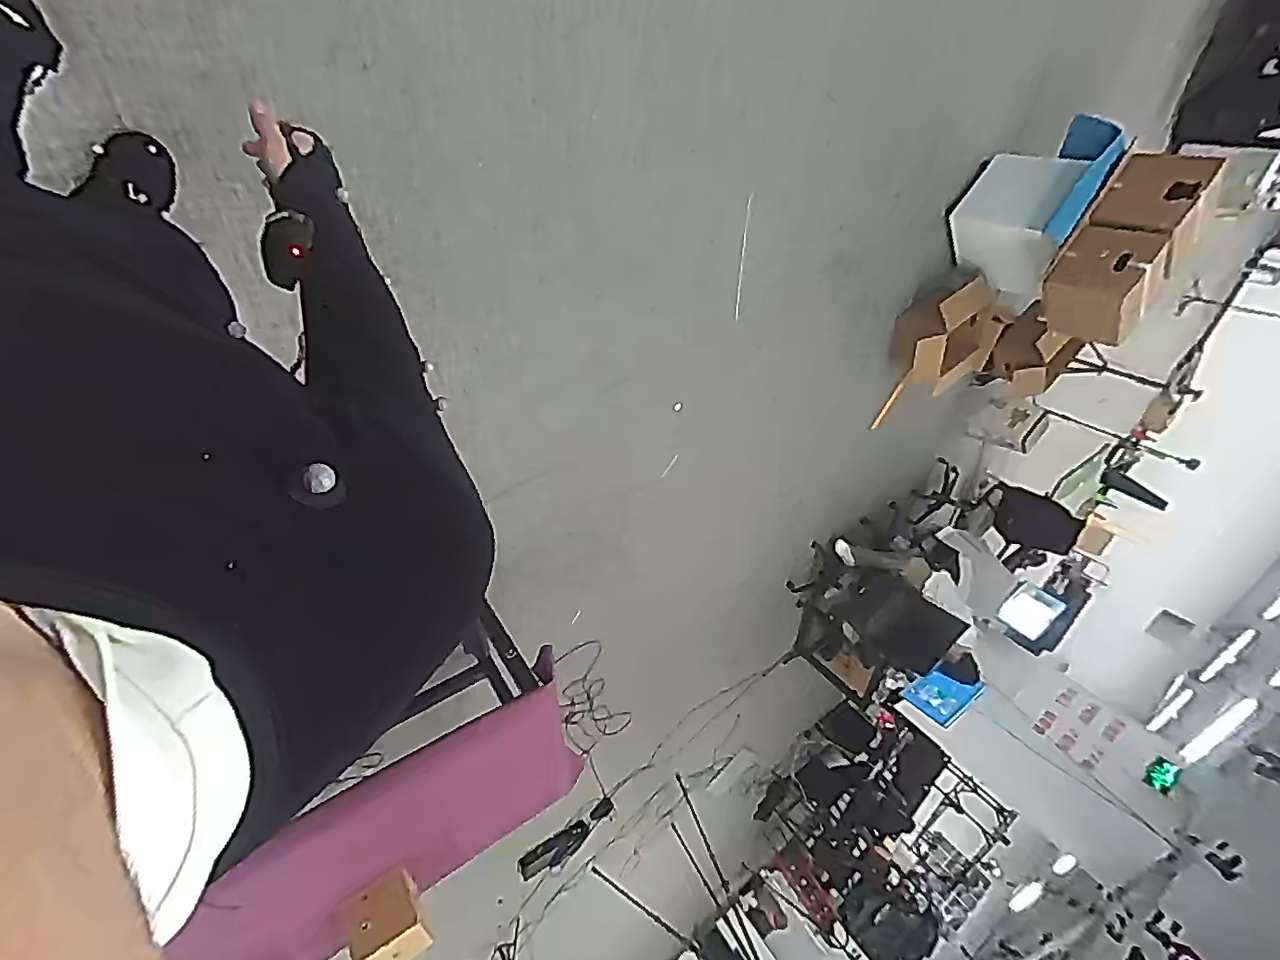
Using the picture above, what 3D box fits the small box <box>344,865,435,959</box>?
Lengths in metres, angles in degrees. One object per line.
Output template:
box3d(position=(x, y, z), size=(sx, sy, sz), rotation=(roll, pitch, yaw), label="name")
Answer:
box3d(position=(-0.690, 1.208, 1.486), size=(0.168, 0.176, 0.179), rotation=(-22, 132, -27), label="small box")
